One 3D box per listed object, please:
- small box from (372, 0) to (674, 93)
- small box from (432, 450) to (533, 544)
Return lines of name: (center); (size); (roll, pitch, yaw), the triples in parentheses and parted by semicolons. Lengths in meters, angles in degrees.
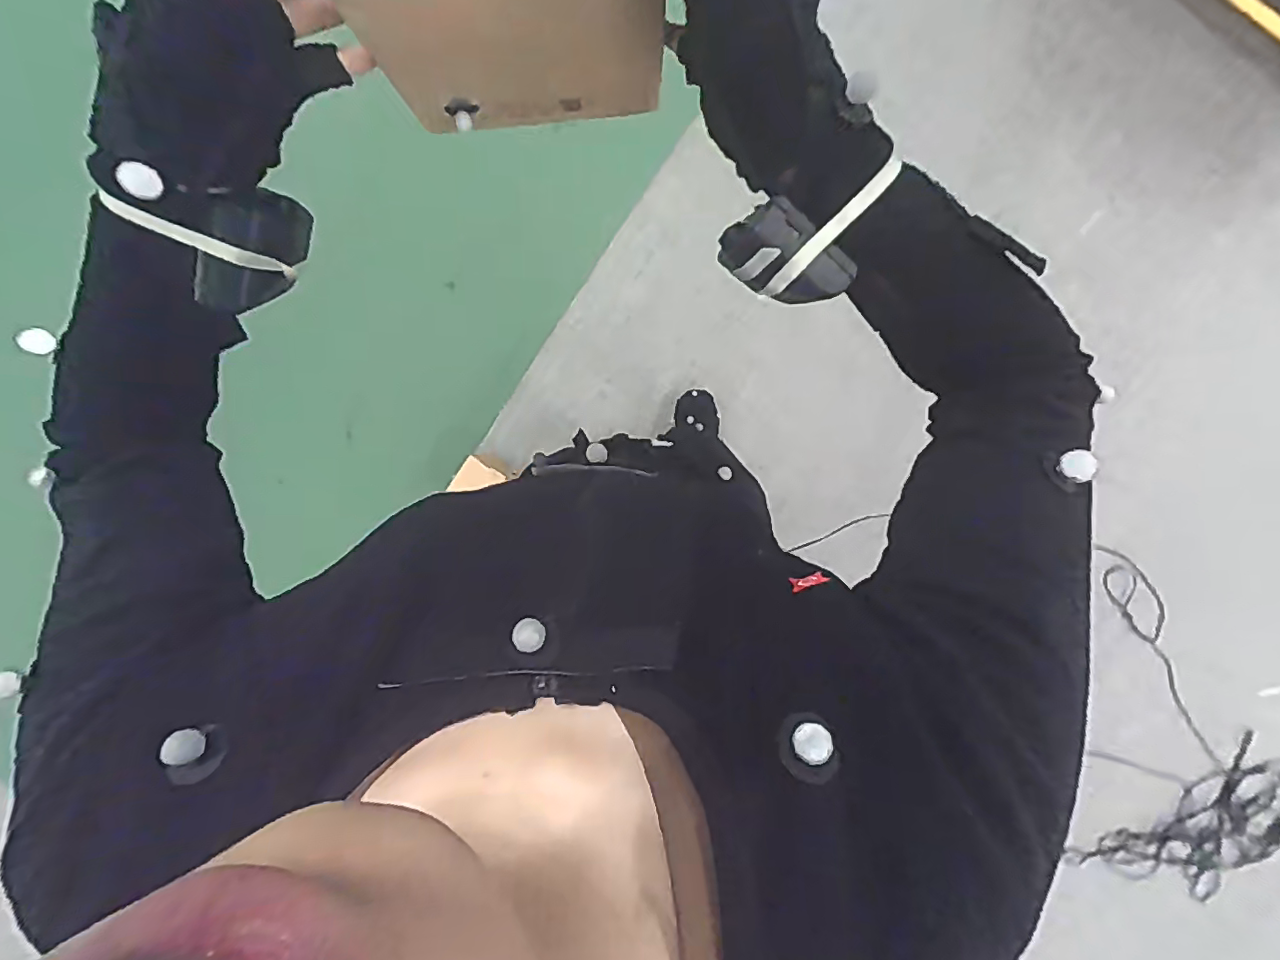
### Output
small box: (-0.067, -0.338, 0.284); (0.168, 0.176, 0.179); (-5, 96, 0)
small box: (-0.397, 0.037, 1.401); (0.168, 0.176, 0.179); (34, 94, -2)
